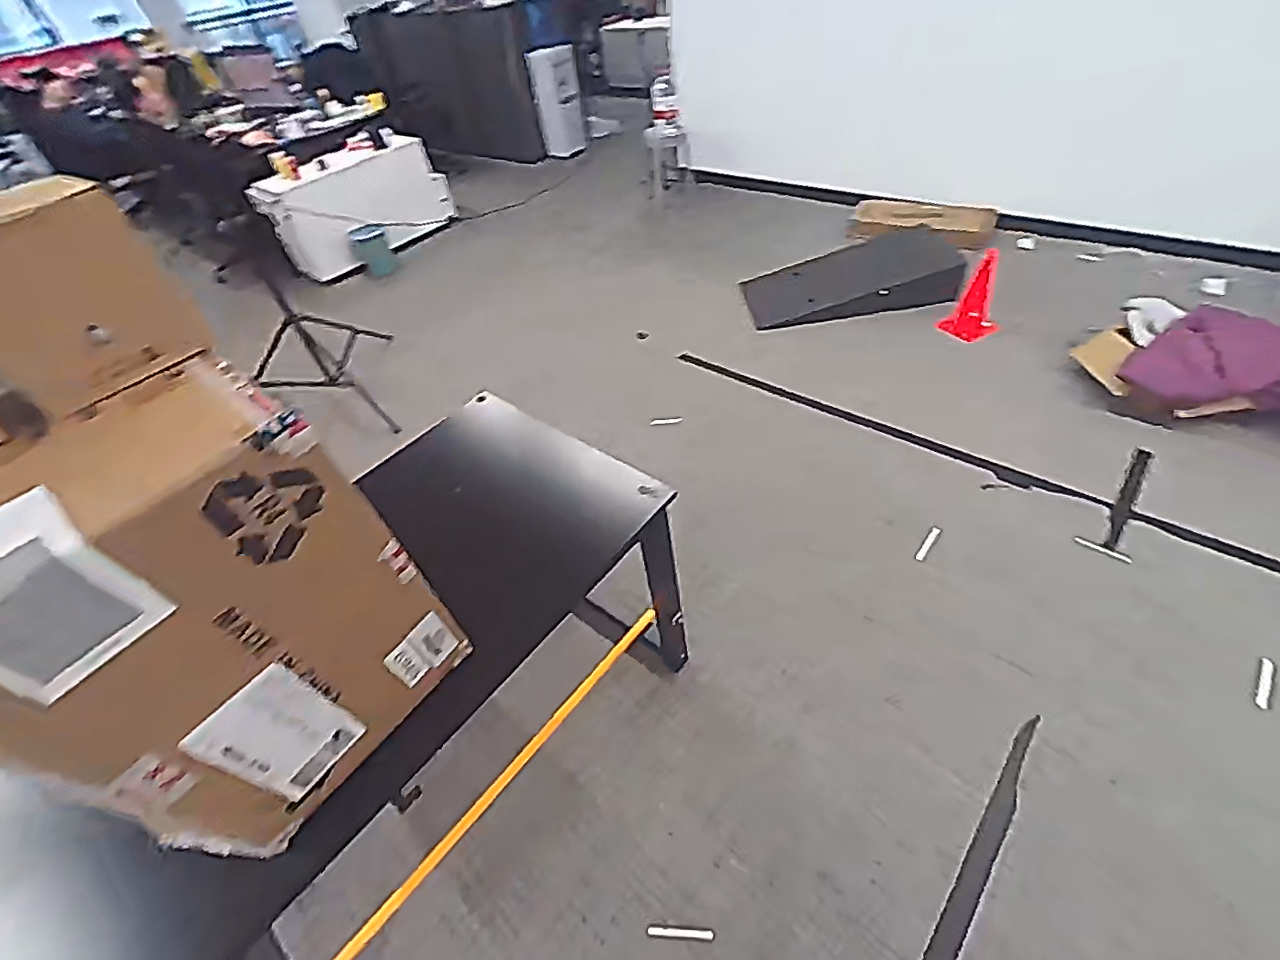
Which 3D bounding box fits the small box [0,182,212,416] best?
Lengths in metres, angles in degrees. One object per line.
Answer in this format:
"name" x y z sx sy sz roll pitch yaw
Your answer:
"small box" -0.610 -0.190 0.564 0.179 0.176 0.168 23 54 30
